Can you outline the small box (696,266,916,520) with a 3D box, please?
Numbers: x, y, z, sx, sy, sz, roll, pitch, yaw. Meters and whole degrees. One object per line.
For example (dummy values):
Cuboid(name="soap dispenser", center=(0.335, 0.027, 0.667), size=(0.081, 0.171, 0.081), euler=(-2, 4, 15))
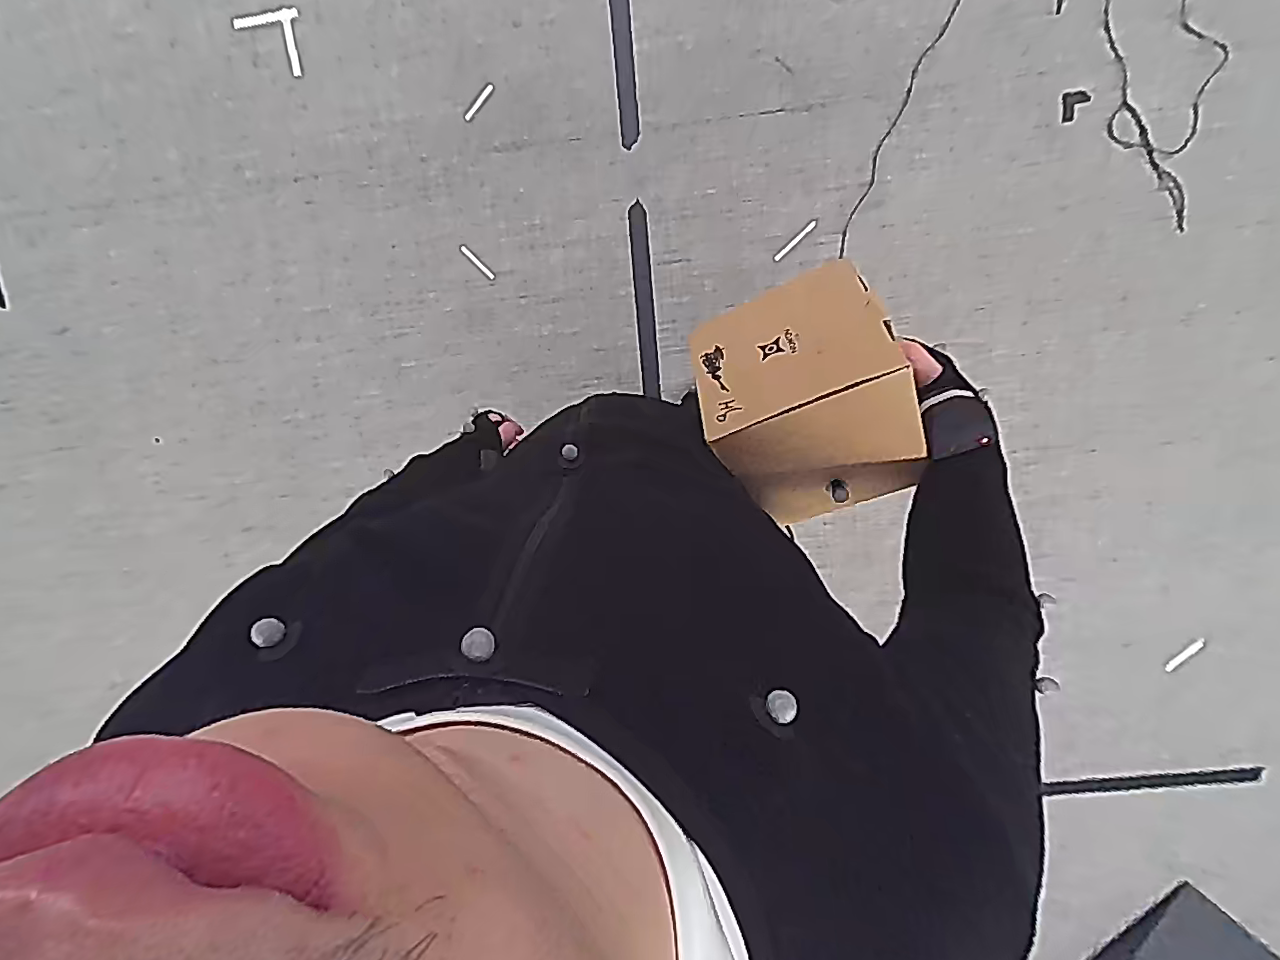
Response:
Cuboid(name="small box", center=(0.178, -0.083, 0.577), size=(0.179, 0.168, 0.176), euler=(-20, 137, 20))
